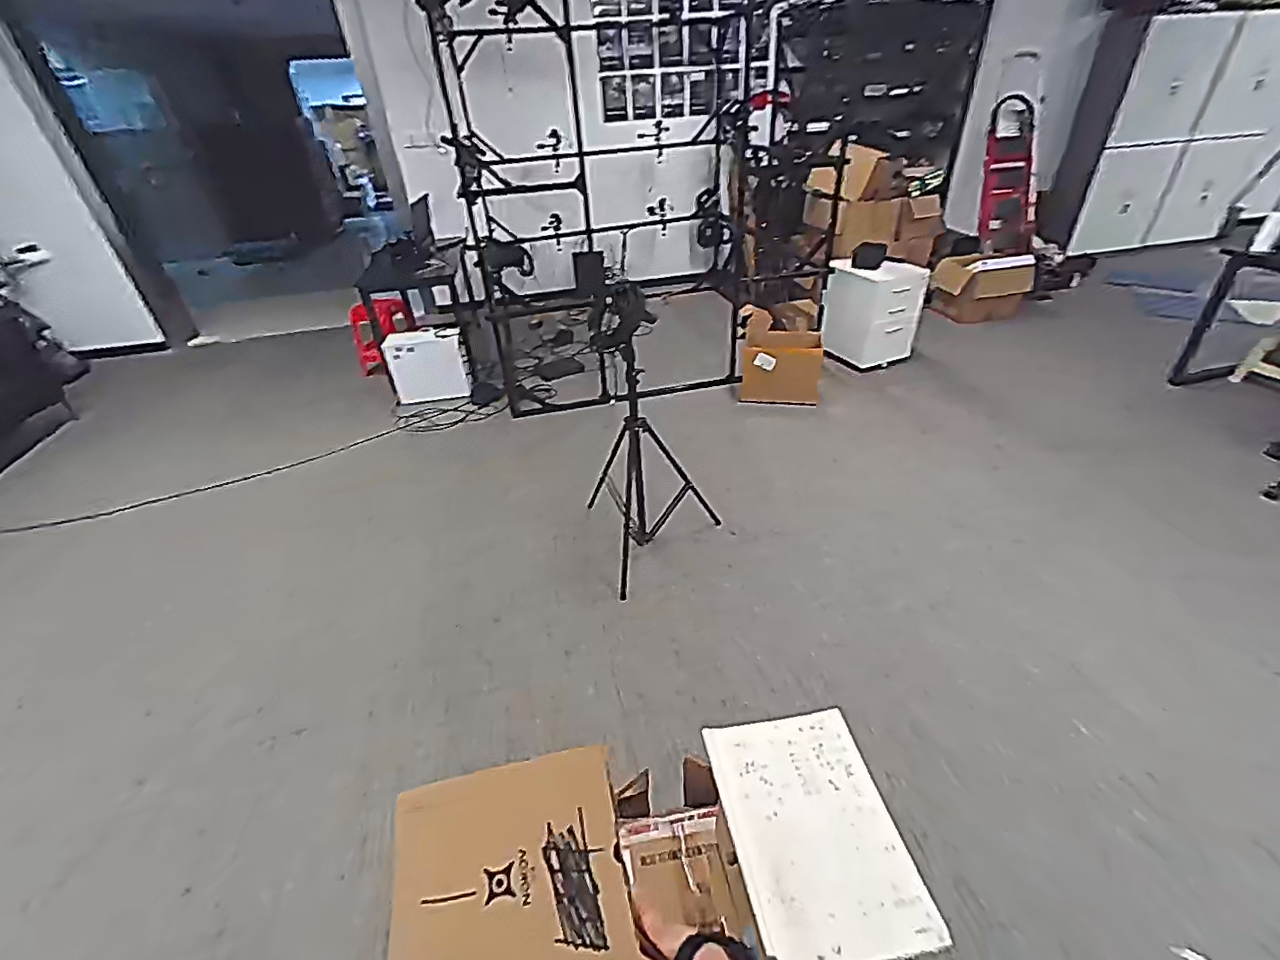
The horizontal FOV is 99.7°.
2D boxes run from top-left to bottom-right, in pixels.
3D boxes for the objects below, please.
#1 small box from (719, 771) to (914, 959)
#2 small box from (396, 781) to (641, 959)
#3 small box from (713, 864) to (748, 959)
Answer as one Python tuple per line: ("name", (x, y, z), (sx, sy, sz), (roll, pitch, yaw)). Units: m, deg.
("small box", (0.207, 0.516, 0.694), (0.168, 0.176, 0.179), (-8, 36, -9))
("small box", (-0.096, 0.385, 0.469), (0.179, 0.176, 0.168), (-9, 51, -9))
("small box", (0.216, 0.654, 0.781), (0.179, 0.176, 0.168), (-10, 36, -11))
